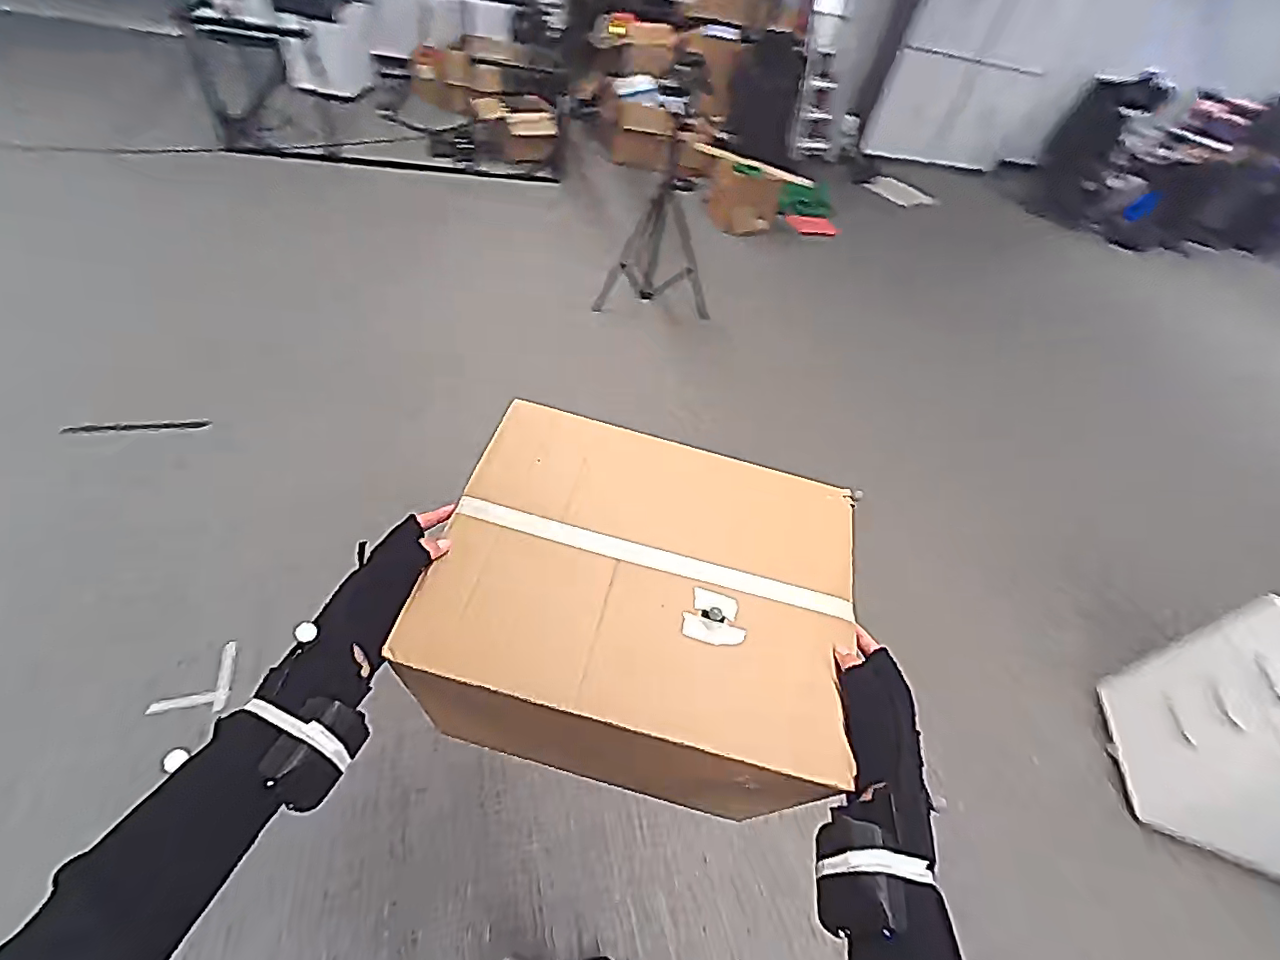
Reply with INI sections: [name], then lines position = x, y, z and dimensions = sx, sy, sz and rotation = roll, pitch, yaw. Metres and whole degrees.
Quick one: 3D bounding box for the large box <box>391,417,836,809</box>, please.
[large box]
position = -0.020, 0.175, 0.669
dimensions = 0.408, 0.320, 0.320
rotation = 15, 53, 0
